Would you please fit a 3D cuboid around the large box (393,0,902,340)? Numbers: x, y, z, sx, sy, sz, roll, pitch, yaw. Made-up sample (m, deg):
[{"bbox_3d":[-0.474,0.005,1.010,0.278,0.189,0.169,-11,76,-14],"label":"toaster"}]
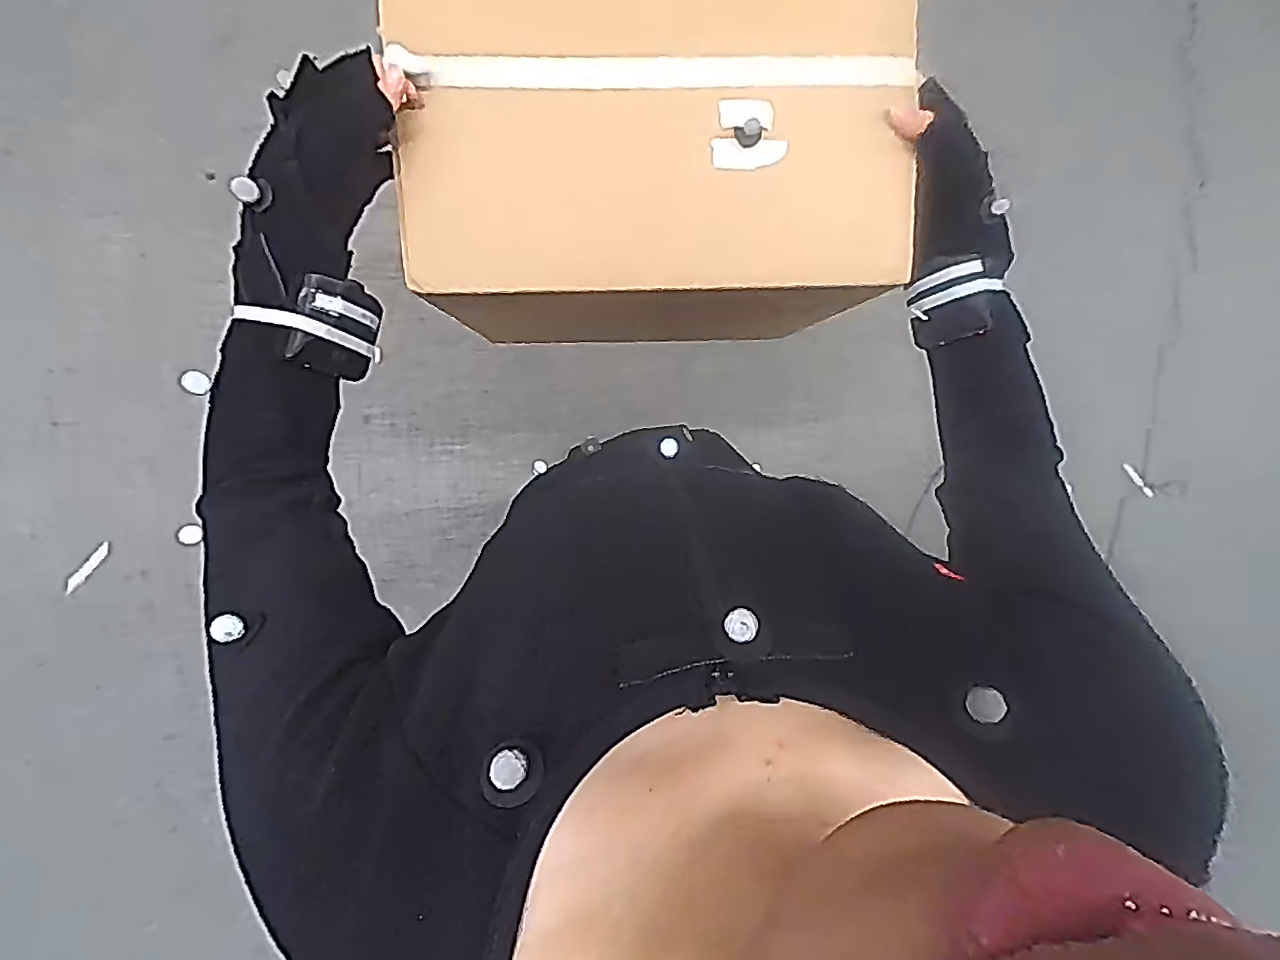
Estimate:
[{"bbox_3d":[0.001,-0.334,0.573,0.408,0.320,0.320,-3,97,-4],"label":"large box"}]
